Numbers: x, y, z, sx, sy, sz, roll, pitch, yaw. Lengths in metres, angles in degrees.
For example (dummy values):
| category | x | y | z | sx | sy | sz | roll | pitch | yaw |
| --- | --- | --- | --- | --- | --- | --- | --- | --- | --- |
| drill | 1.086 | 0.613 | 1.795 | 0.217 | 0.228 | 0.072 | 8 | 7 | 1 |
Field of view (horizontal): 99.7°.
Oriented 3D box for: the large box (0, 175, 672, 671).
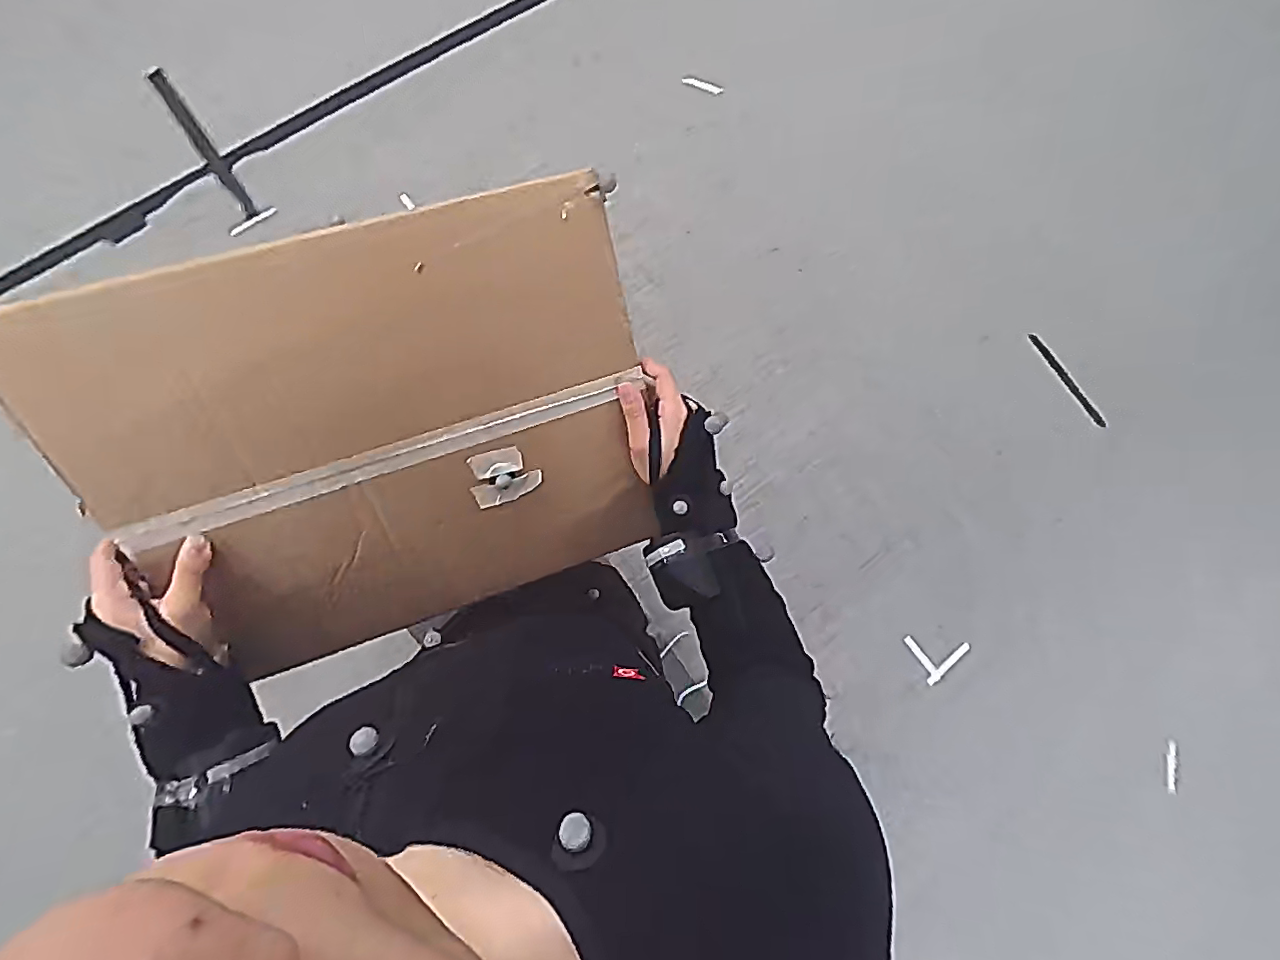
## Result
| category | x | y | z | sx | sy | sz | roll | pitch | yaw |
| --- | --- | --- | --- | --- | --- | --- | --- | --- | --- |
| large box | -0.230 | -0.086 | 0.564 | 0.408 | 0.320 | 0.320 | -20 | 119 | -10 |
